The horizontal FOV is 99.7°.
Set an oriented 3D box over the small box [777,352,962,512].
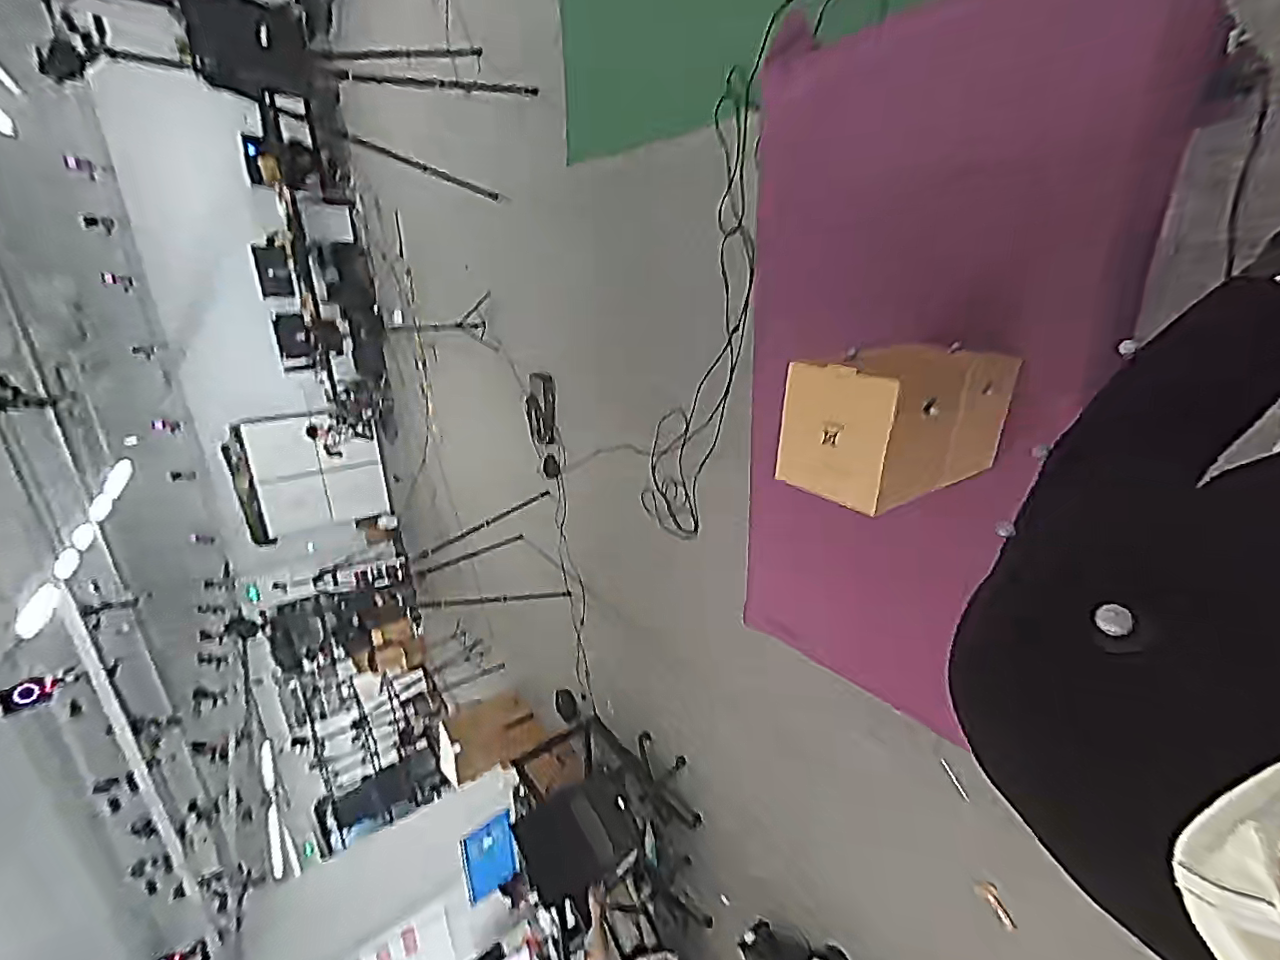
[{"bbox_3d":[0.320,-0.080,0.760,0.168,0.176,0.179,28,125,49],"label":"small box"}]
